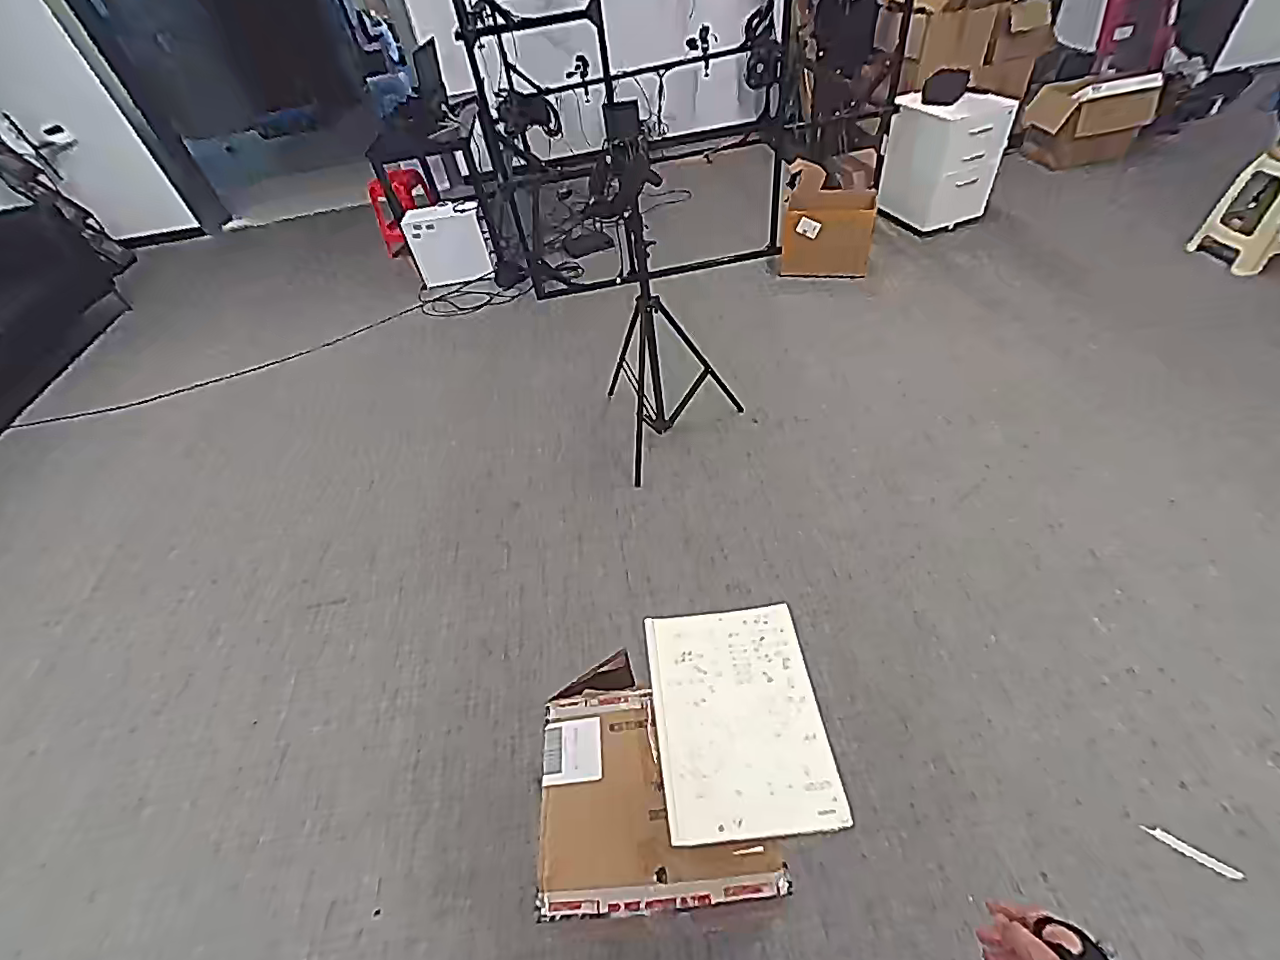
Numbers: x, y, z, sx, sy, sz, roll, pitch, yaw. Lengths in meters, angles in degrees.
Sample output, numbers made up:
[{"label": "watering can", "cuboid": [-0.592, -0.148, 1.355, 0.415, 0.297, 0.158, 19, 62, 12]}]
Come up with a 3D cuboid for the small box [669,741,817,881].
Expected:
[{"label": "small box", "cuboid": [0.147, 0.494, 0.832, 0.179, 0.176, 0.168, -11, 47, -3]}]

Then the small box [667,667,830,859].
[{"label": "small box", "cuboid": [0.130, 0.377, 0.720, 0.168, 0.176, 0.179, -9, 48, -2]}]
